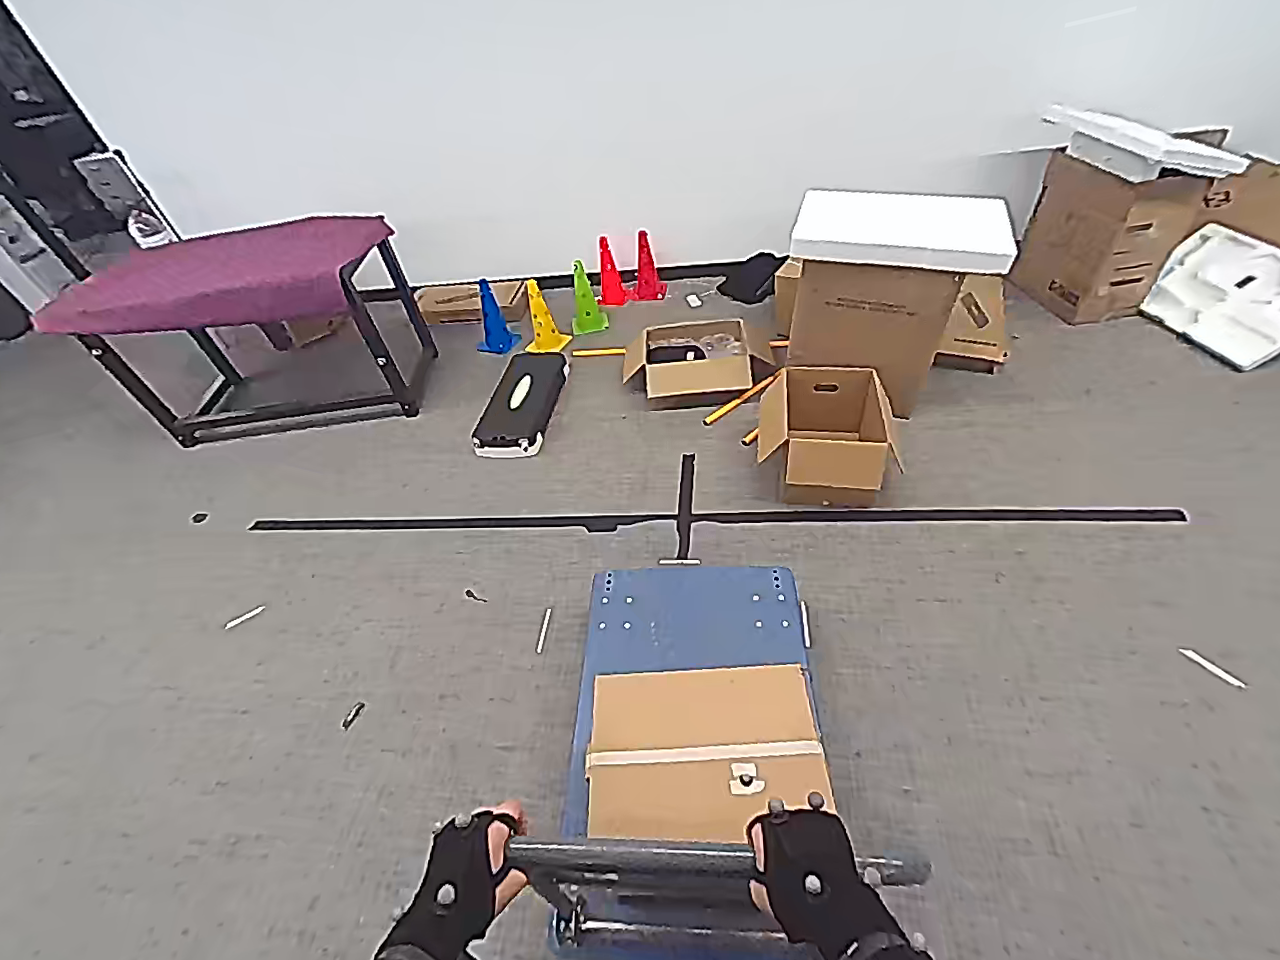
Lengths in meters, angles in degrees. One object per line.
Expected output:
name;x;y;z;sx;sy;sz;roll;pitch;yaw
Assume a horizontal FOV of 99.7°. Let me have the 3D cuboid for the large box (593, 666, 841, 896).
large box;0.129;0.594;1.064;0.408;0.320;0.320;-4;45;3
